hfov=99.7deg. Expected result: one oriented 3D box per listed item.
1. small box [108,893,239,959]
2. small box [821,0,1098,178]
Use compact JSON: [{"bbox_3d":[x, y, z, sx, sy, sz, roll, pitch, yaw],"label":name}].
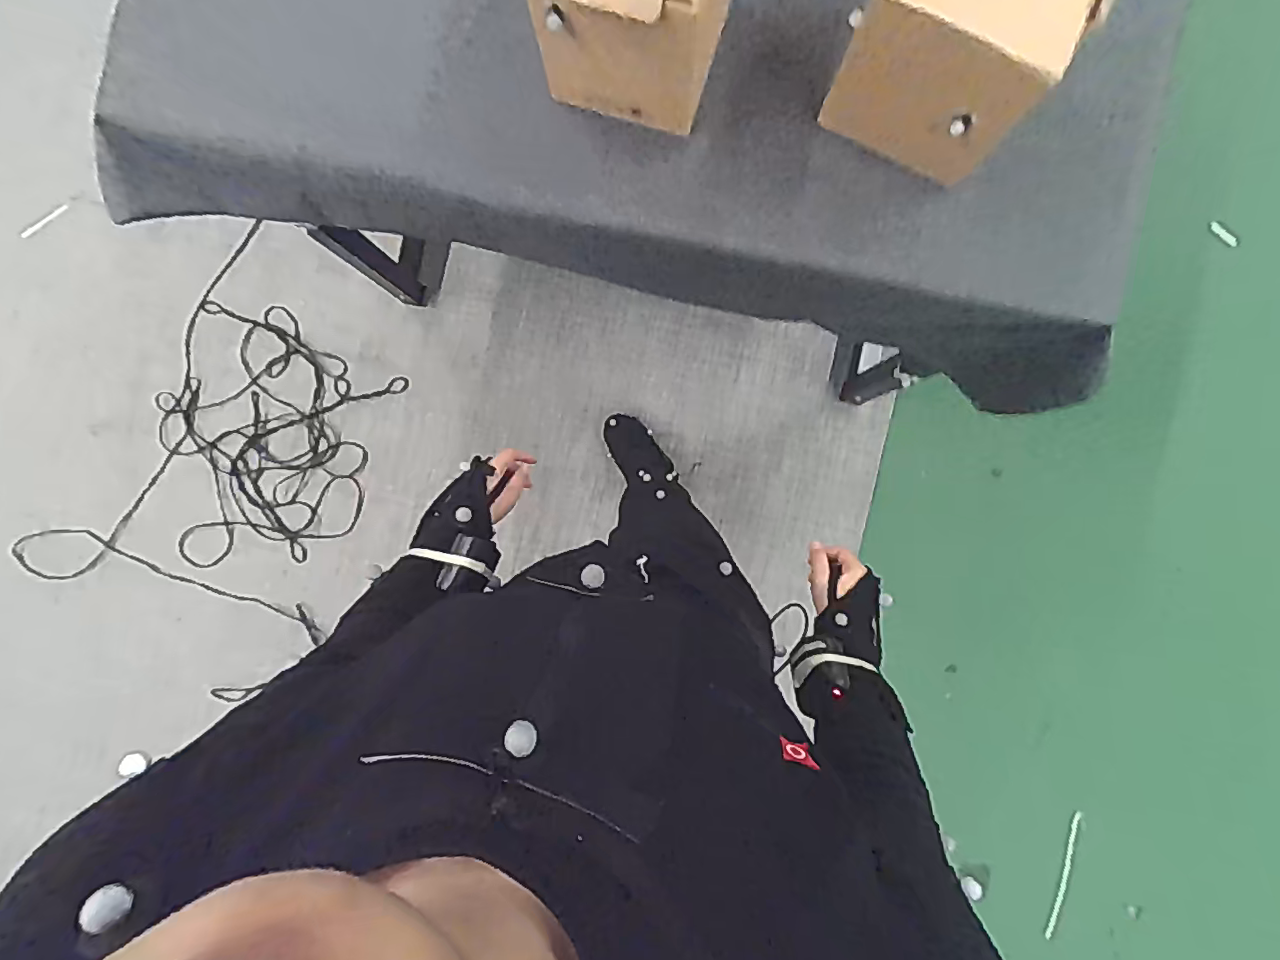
[{"bbox_3d":[-1.098,1.137,1.287,0.168,0.176,0.179,-7,88,1],"label":"small box"},{"bbox_3d":[0.313,-0.443,0.540,0.179,0.176,0.168,27,89,3],"label":"small box"}]
